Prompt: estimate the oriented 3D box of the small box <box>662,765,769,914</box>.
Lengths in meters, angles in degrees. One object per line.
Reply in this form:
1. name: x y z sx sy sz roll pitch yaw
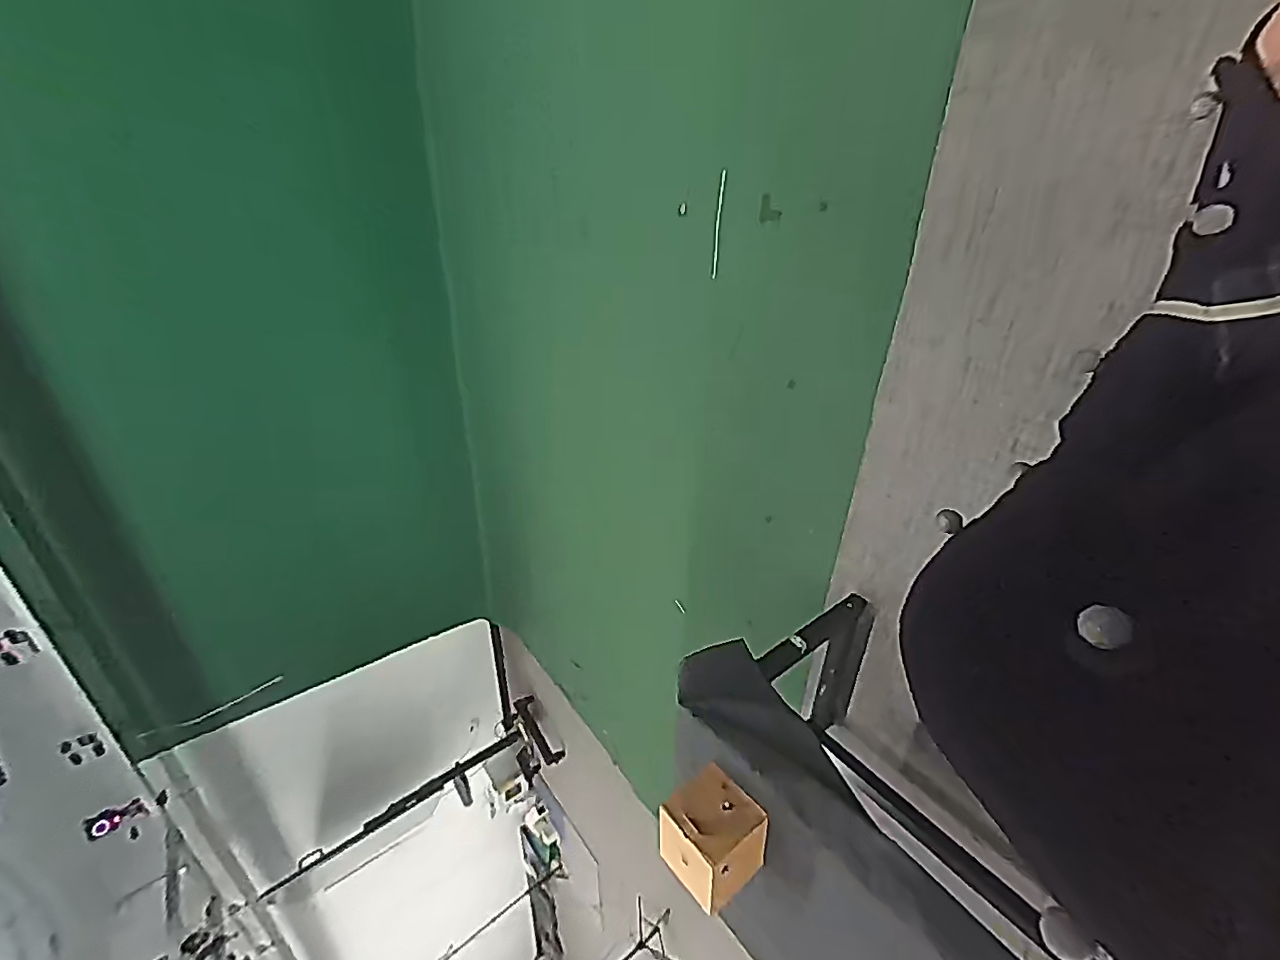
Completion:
1. small box: 0.166 0.779 1.187 0.168 0.176 0.179 27 127 47
